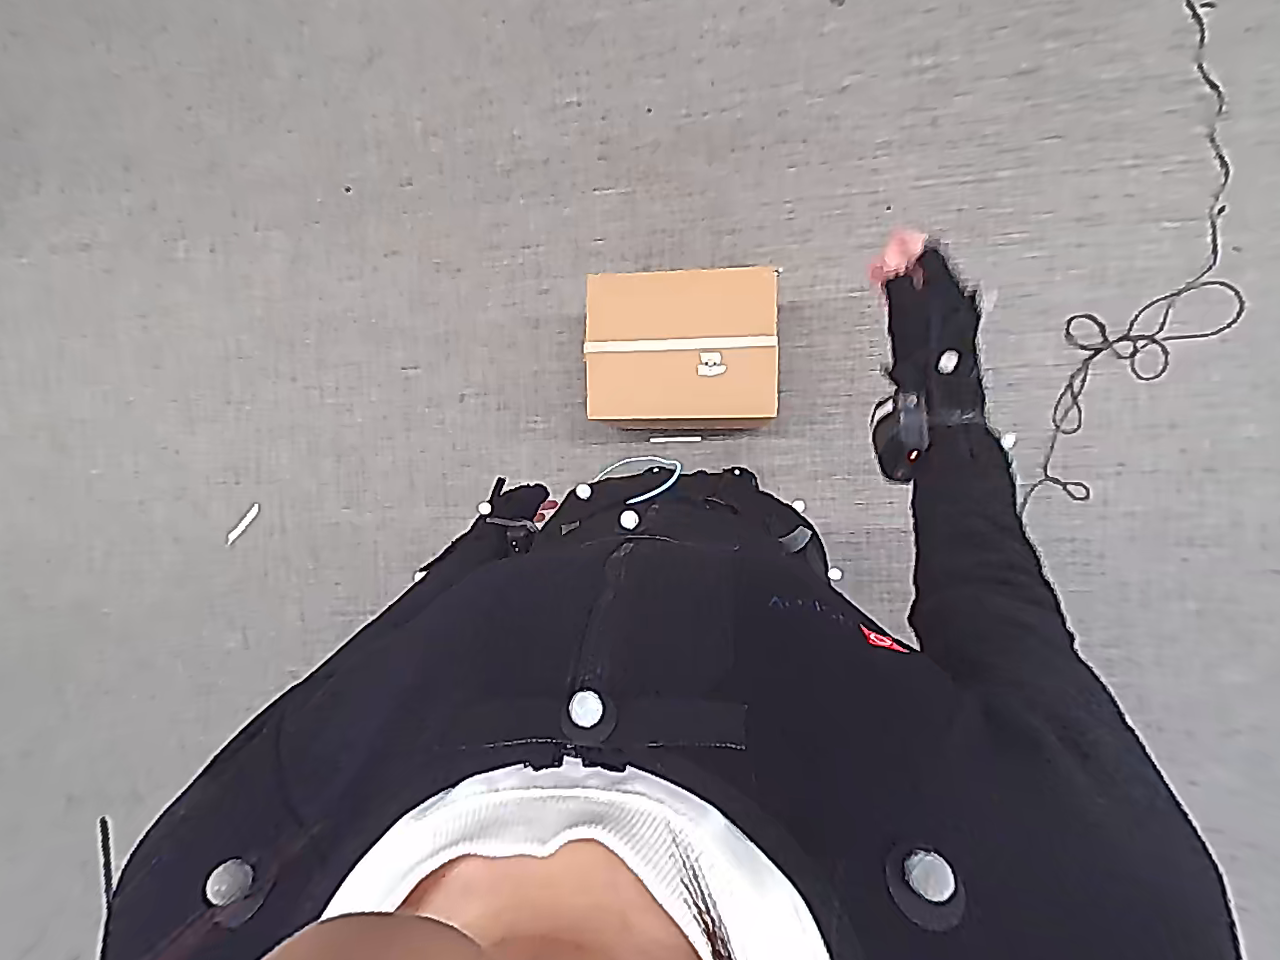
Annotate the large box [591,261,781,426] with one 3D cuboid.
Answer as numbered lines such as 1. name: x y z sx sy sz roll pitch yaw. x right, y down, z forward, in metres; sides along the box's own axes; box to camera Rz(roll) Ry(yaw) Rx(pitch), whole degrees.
1. large box: 0.110 -0.300 1.289 0.408 0.320 0.320 0 92 7
